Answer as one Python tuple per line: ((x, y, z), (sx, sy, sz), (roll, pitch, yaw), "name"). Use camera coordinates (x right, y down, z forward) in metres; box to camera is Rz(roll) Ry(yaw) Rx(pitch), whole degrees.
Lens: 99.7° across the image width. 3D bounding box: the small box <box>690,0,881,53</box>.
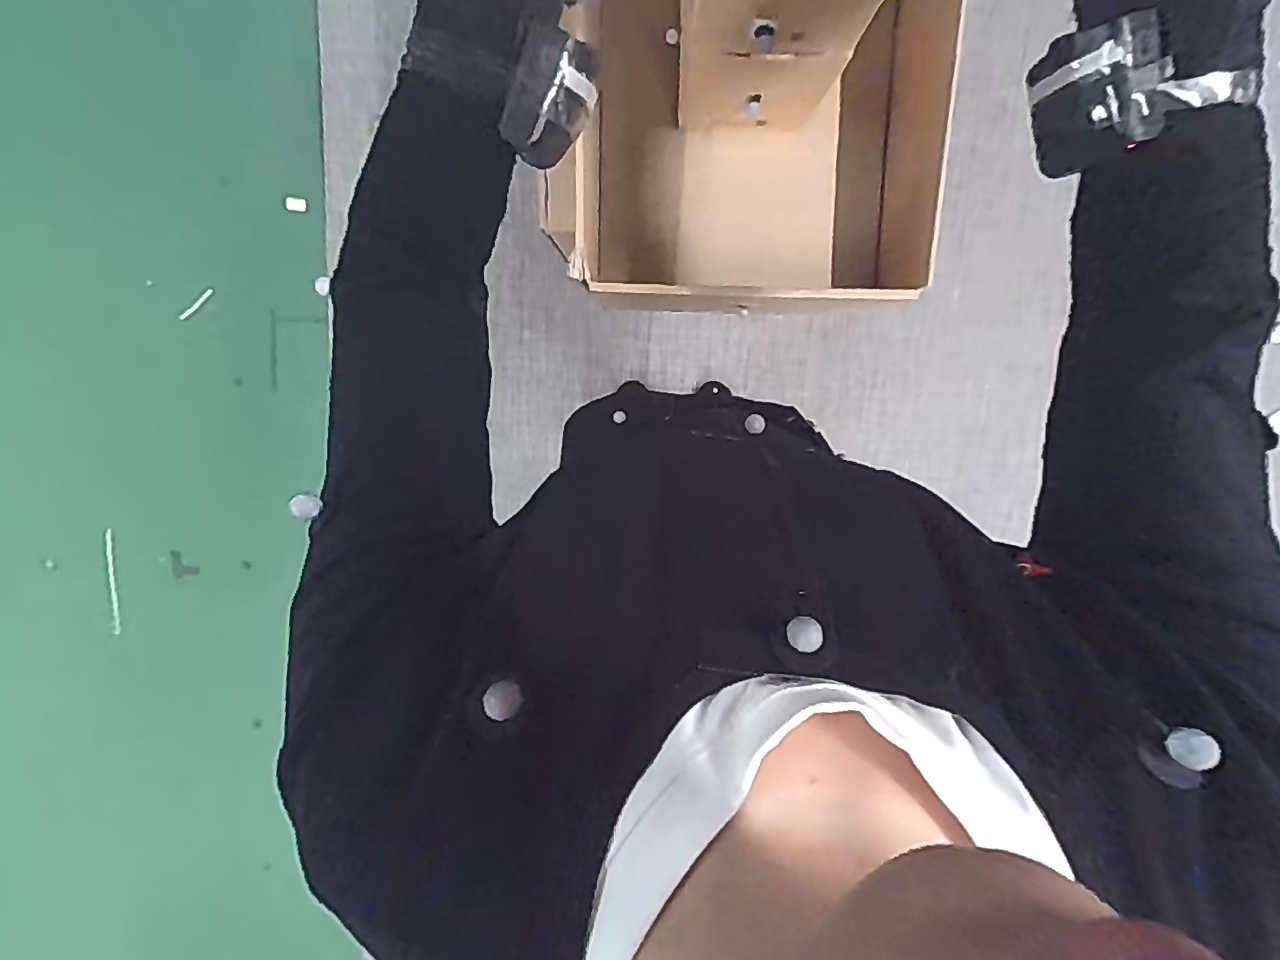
((0.128, -0.495, 0.441), (0.168, 0.176, 0.179), (-1, 101, 1), "small box")
